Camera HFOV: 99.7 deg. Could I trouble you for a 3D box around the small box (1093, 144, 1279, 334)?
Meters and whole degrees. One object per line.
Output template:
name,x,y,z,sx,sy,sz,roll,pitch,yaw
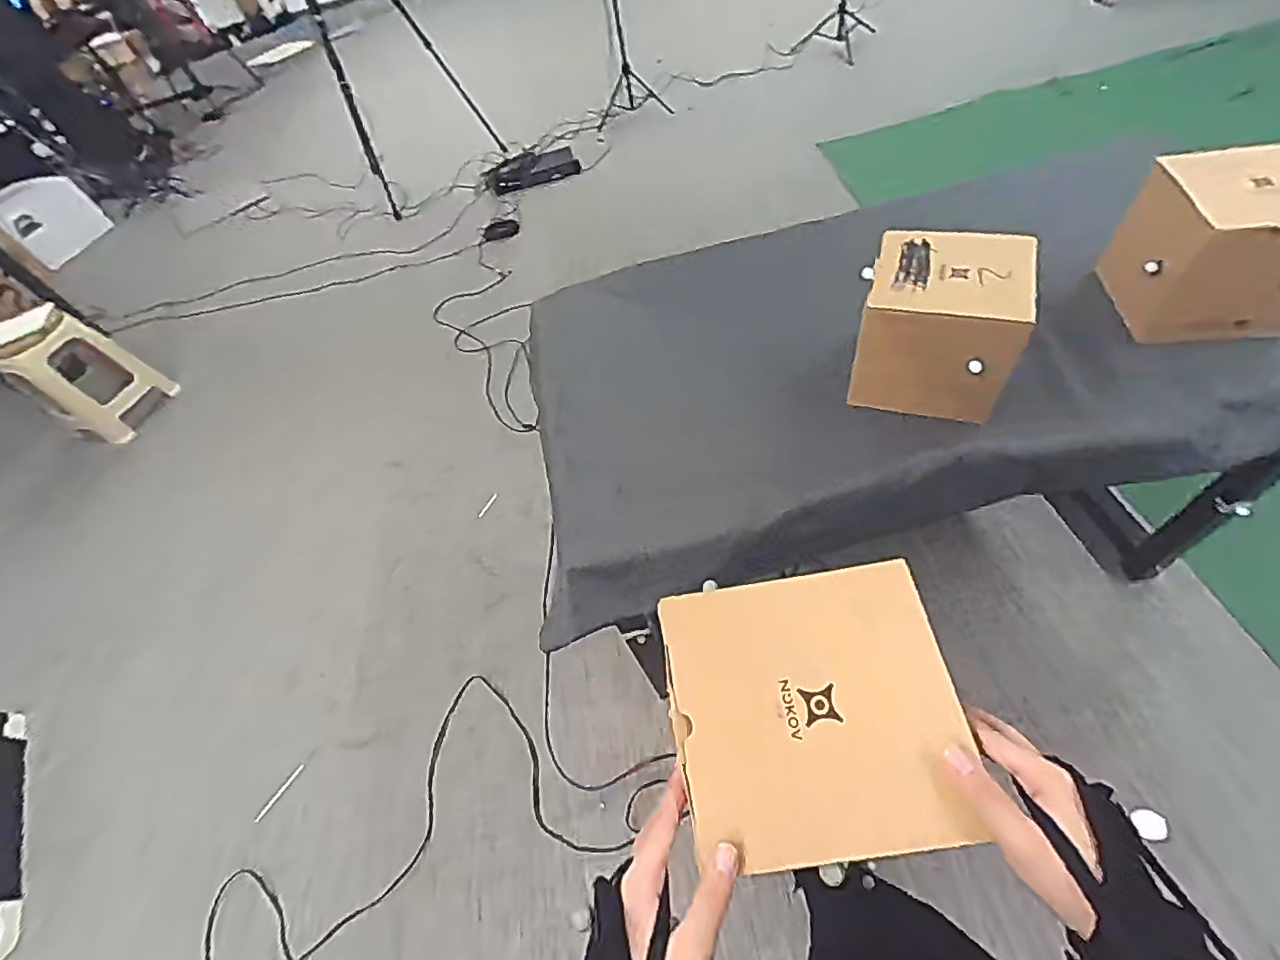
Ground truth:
small box,0.749,-0.305,0.707,0.168,0.176,0.179,0,53,12
